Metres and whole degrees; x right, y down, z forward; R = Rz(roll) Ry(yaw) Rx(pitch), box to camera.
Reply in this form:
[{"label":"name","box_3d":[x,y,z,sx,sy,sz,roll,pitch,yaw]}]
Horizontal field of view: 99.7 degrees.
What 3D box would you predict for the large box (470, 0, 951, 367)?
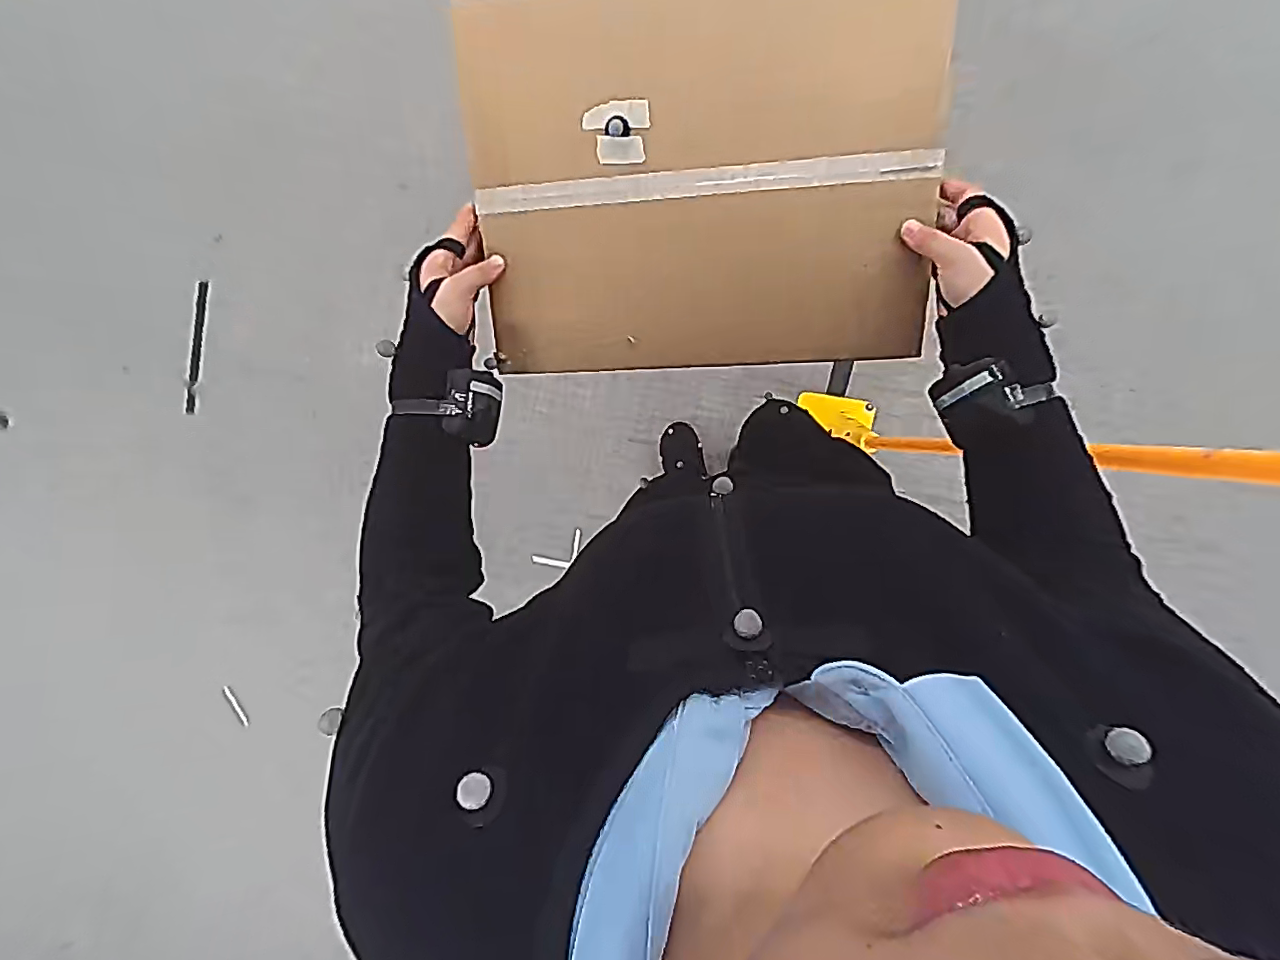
[{"label":"large box","box_3d":[0.075,-0.313,0.626,0.408,0.320,0.320,-1,107,7]}]
